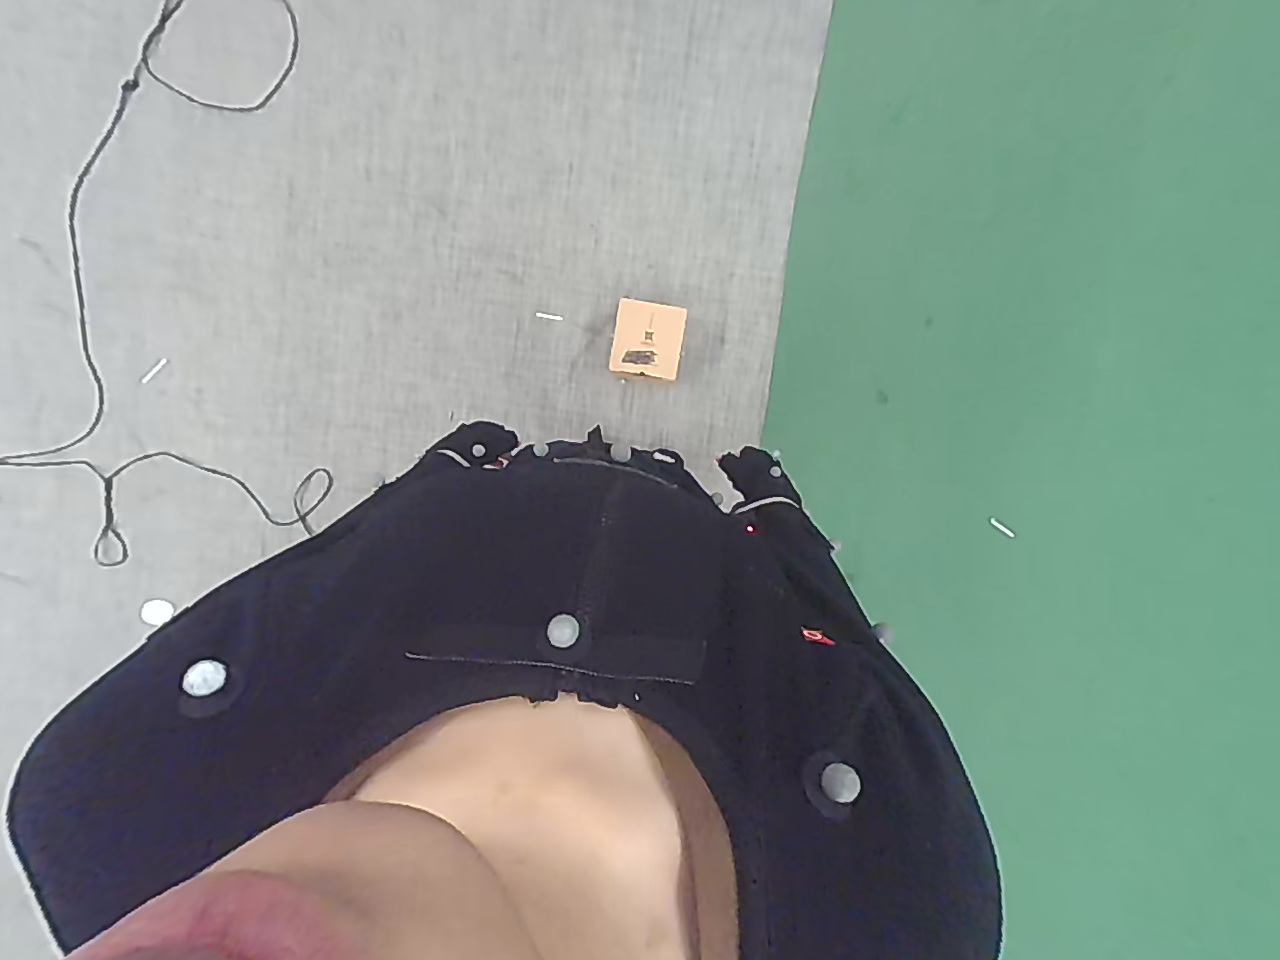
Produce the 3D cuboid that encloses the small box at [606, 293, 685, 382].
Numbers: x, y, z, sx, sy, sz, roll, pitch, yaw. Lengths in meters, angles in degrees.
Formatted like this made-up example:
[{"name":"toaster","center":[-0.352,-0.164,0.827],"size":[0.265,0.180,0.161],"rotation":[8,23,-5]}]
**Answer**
[{"name":"small box","center":[0.015,-0.351,1.366],"size":[0.168,0.176,0.179],"rotation":[10,95,-1]}]
